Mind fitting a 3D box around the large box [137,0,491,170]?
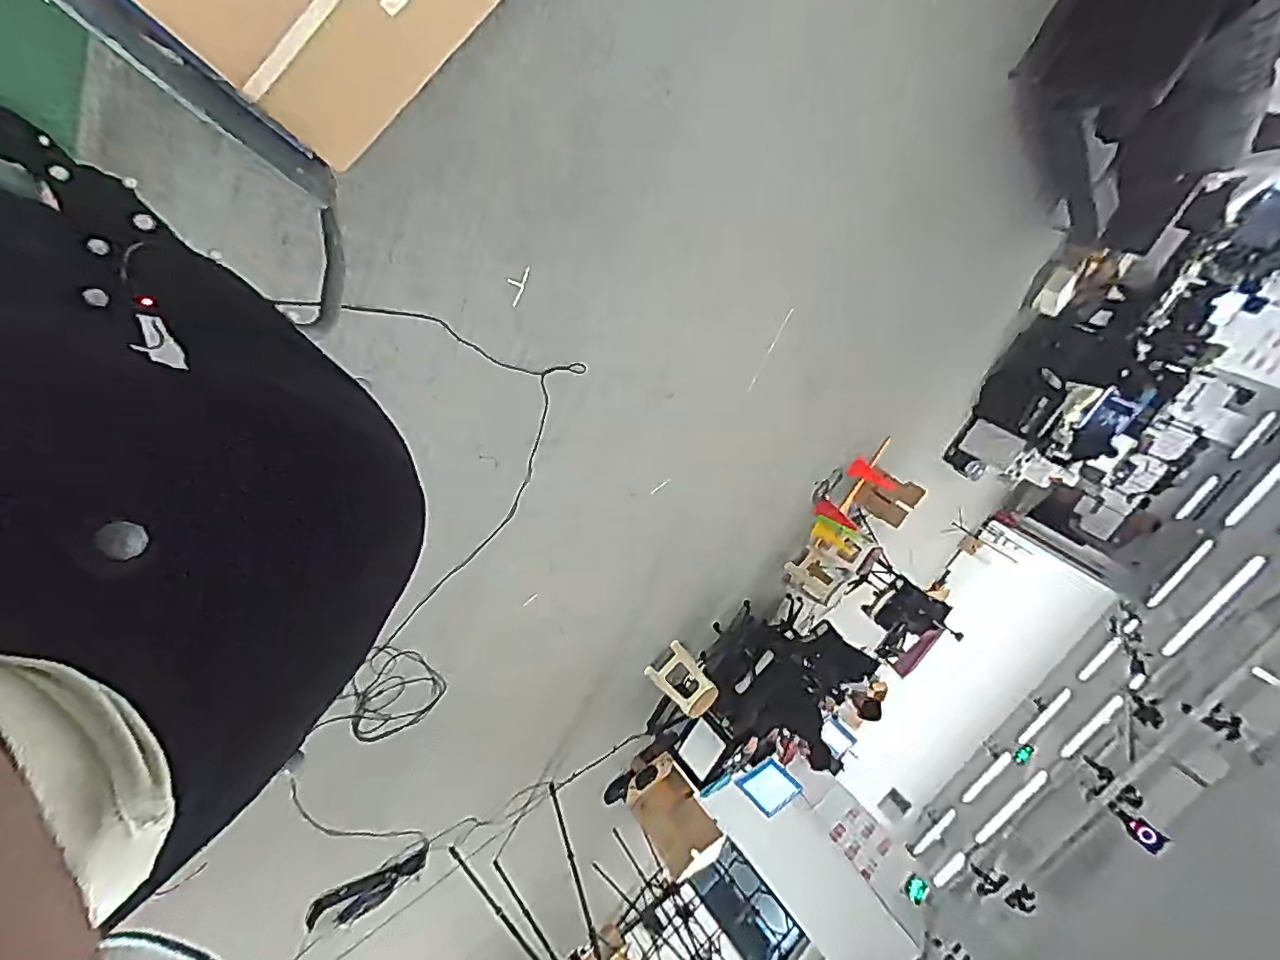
[{"bbox_3d":[-0.502,-0.812,0.856,0.408,0.320,0.320,-39,147,13],"label":"large box"}]
